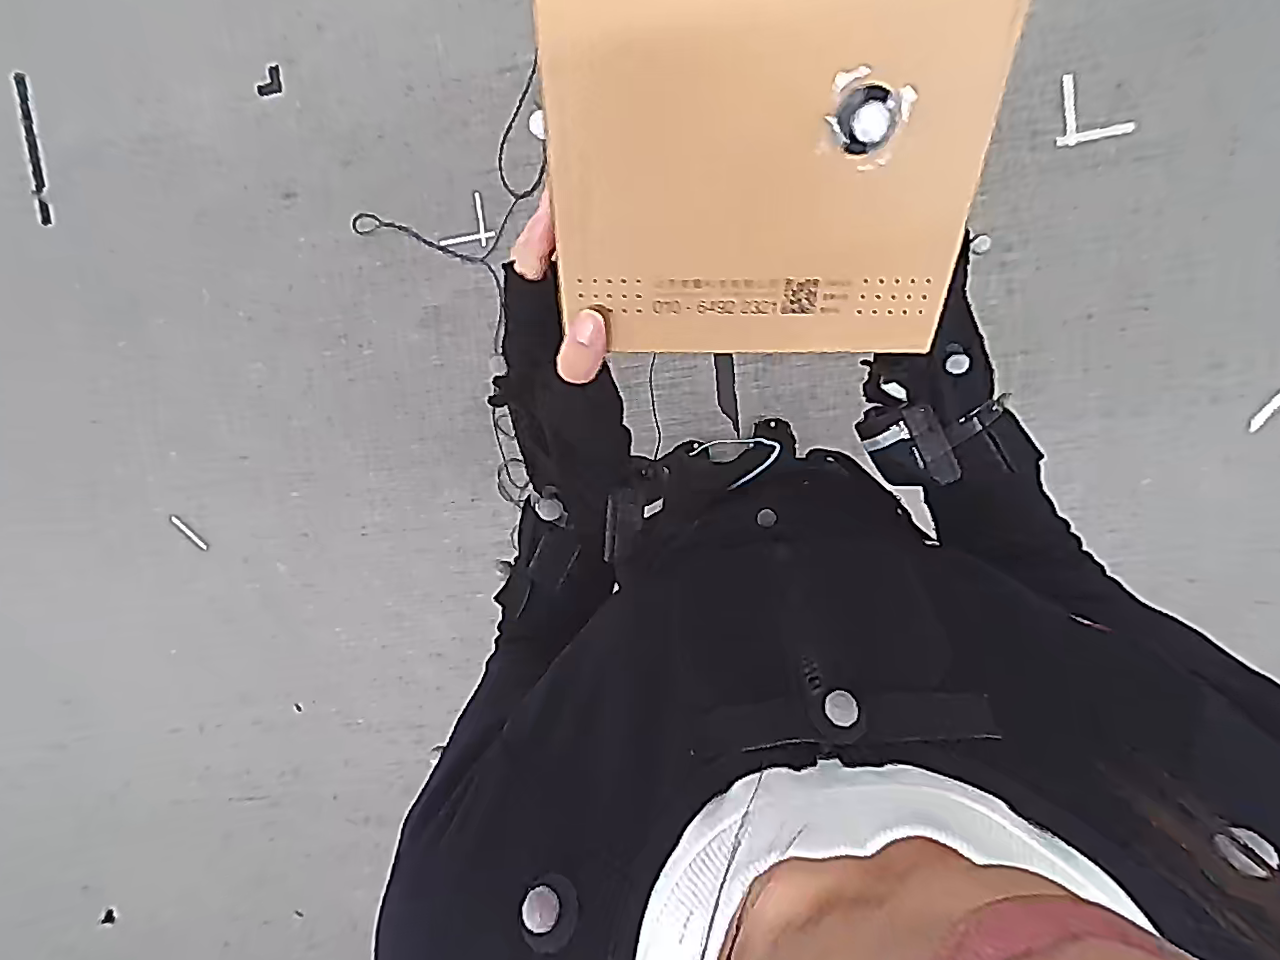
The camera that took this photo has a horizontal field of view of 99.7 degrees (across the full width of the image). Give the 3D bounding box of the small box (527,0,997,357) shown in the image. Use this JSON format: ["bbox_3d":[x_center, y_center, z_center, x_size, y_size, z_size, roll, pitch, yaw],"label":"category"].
[{"bbox_3d":[0.053,-0.170,0.277,0.168,0.179,0.176,2,124,6],"label":"small box"}]
